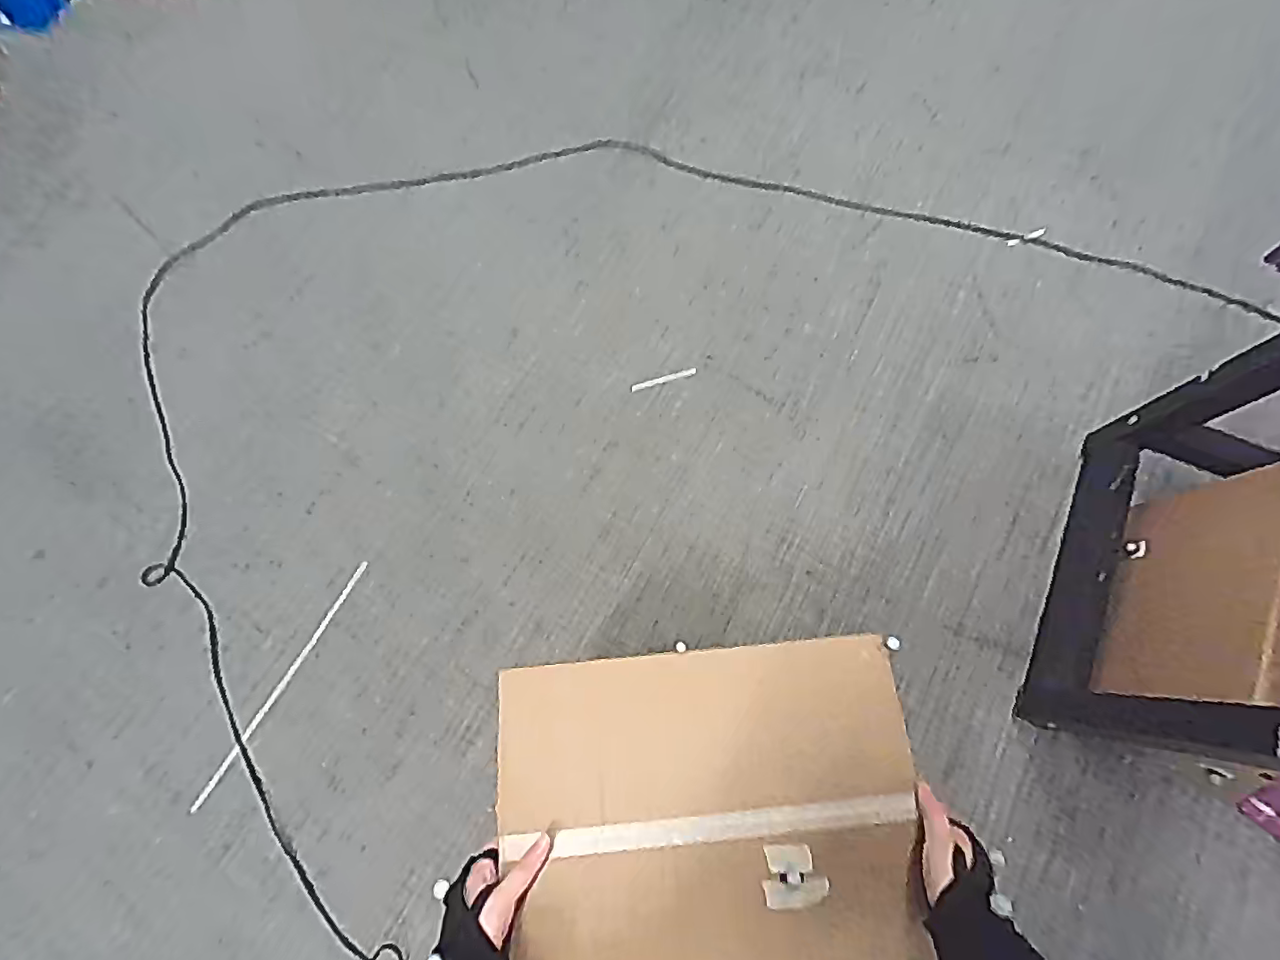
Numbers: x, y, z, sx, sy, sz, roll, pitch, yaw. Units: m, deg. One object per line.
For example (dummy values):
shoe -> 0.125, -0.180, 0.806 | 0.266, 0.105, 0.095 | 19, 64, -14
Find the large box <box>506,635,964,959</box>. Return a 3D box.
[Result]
large box -> 0.073, 0.373, 0.646 | 0.408, 0.320, 0.320 | -5, 71, -1
